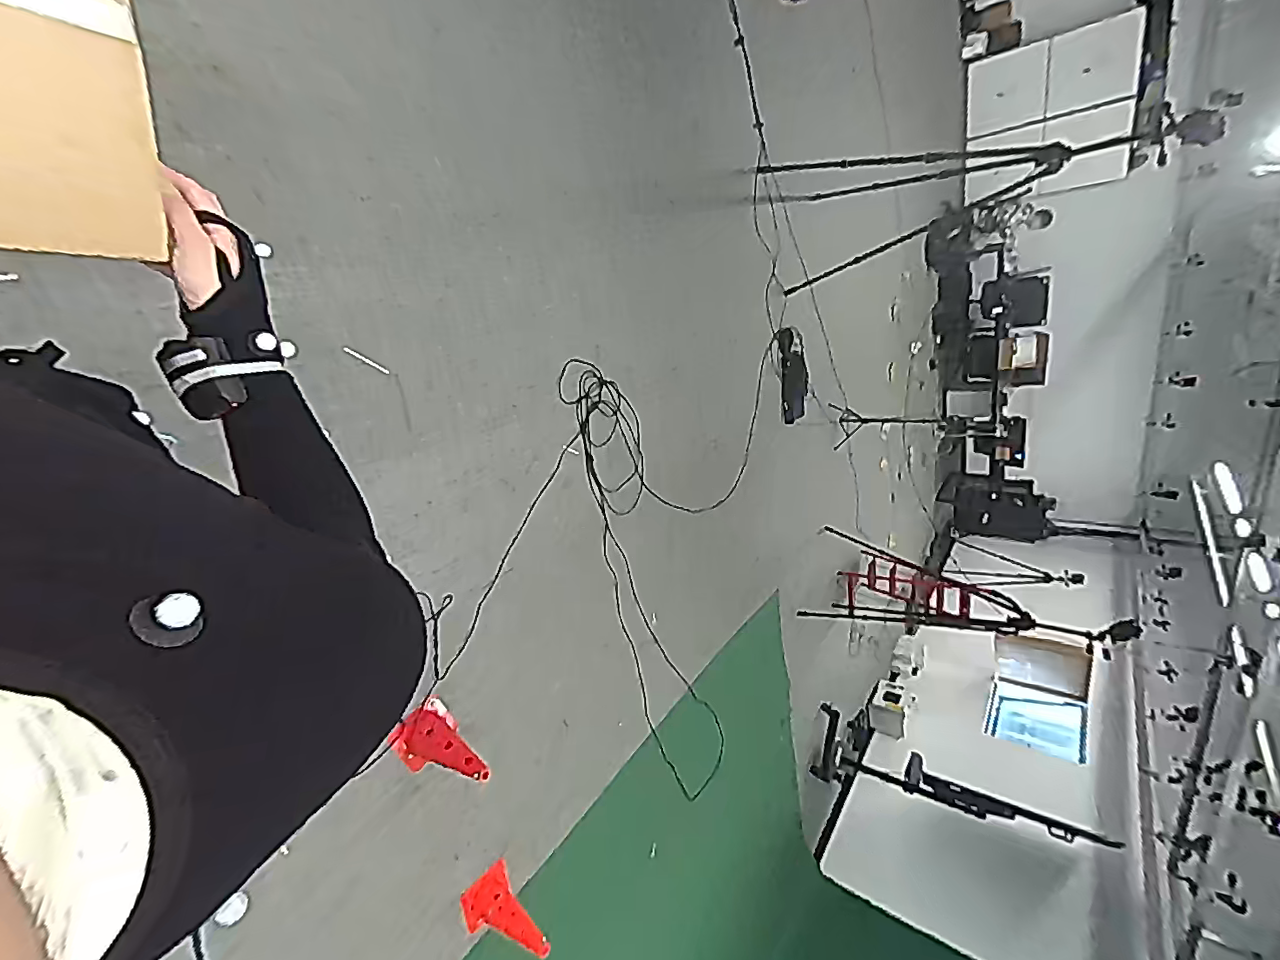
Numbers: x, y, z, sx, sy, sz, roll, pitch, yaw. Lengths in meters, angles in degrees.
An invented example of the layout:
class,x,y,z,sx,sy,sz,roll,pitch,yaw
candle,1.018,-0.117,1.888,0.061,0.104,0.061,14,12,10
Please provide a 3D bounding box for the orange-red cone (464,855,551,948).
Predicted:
class,x,y,z,sx,sy,sz,roll,pitch,yaw
orange-red cone,-0.470,1.638,2.041,0.199,0.360,0.198,-23,113,-49
